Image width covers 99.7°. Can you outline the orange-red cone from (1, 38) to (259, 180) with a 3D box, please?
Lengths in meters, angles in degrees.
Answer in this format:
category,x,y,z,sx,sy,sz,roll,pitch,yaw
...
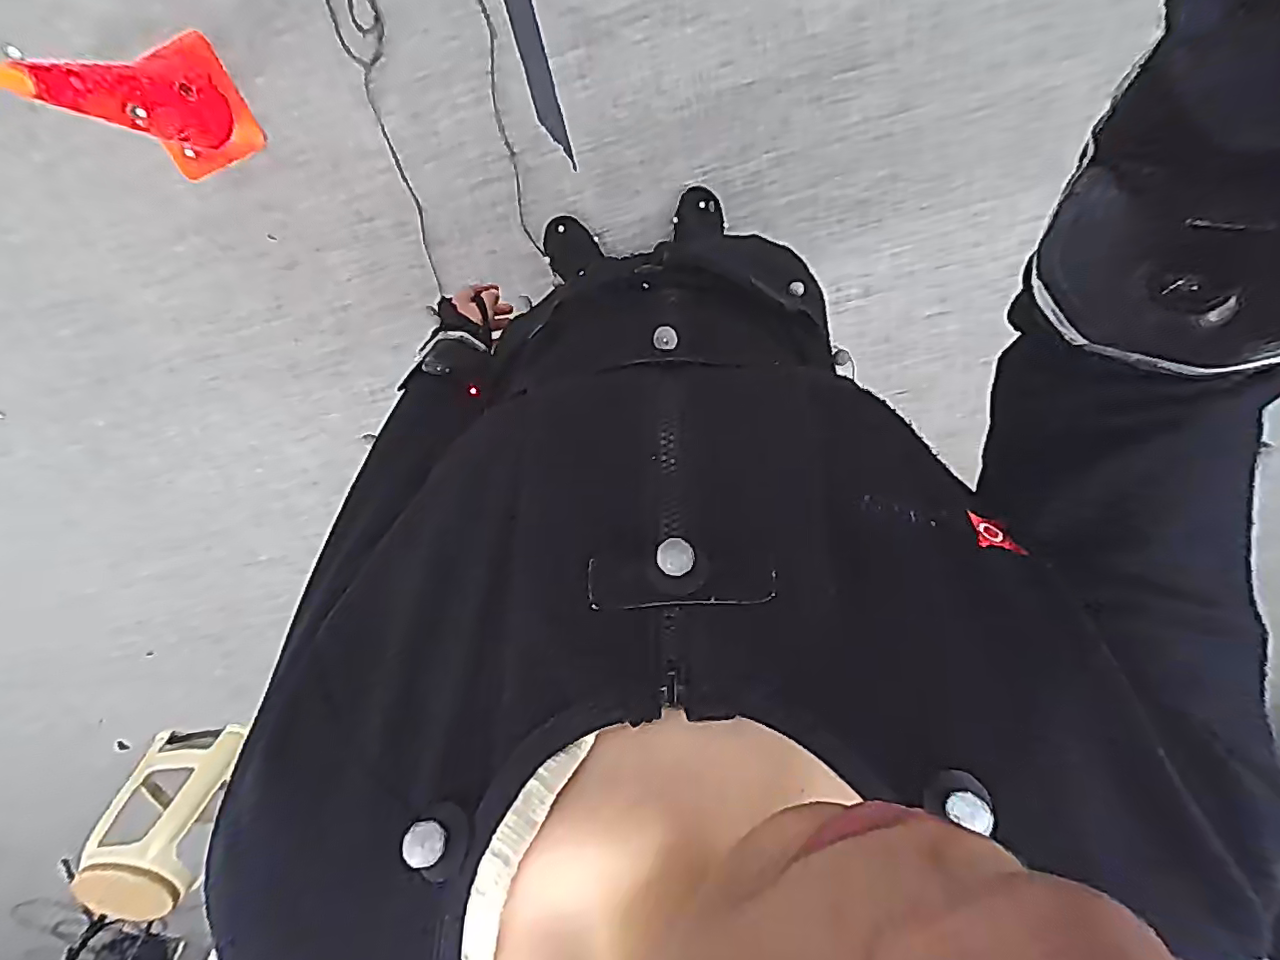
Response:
category,x,y,z,sx,sy,sz,roll,pitch,yaw
orange-red cone,-0.874,-0.639,0.906,0.199,0.360,0.198,-18,117,7
